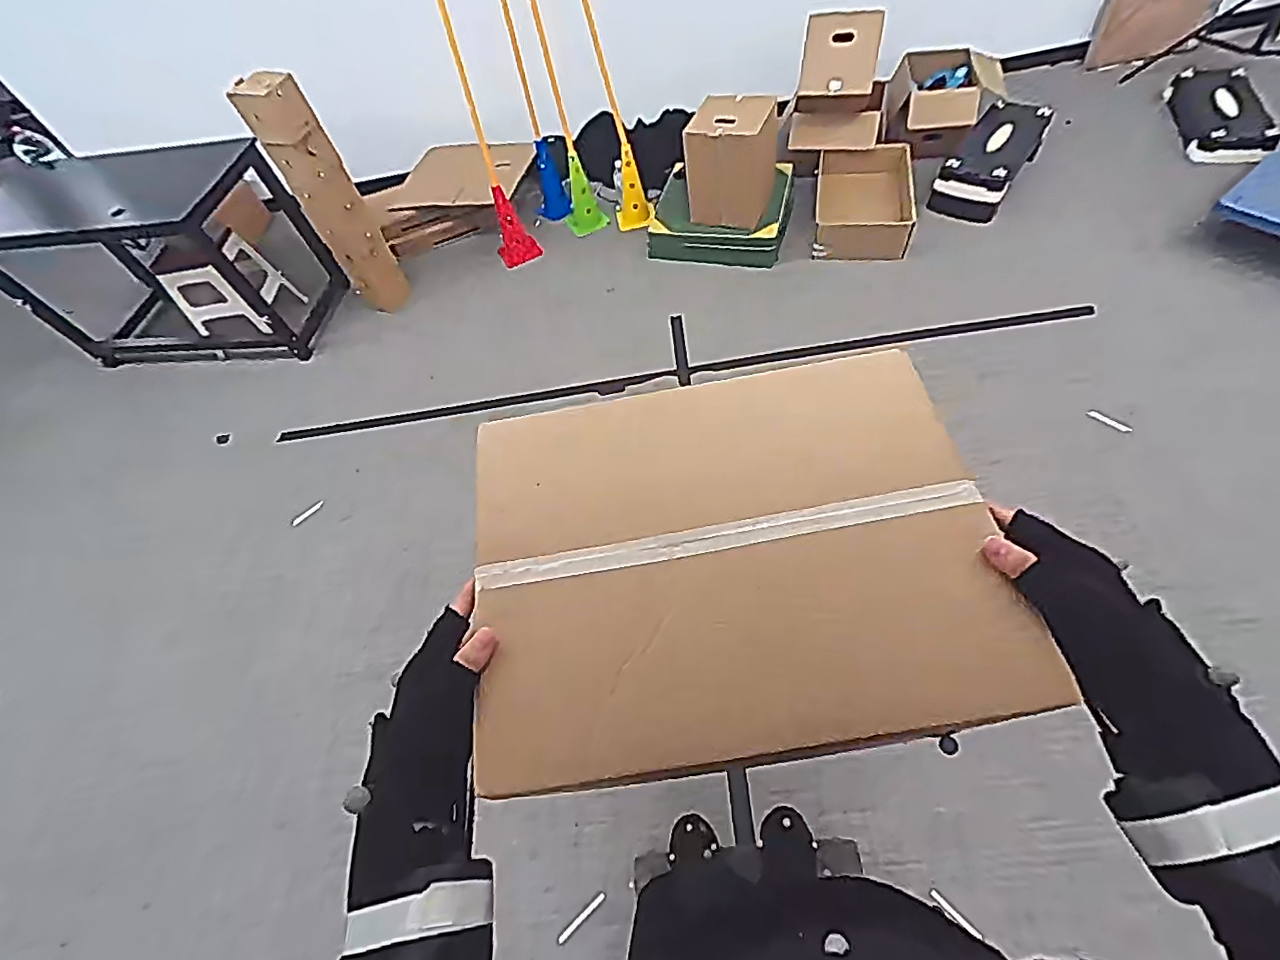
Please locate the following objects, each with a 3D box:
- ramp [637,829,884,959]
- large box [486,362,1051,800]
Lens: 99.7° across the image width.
[{"bbox_3d":[0.281,1.253,1.014,0.509,0.206,0.991,-9,57,3],"label":"ramp"},{"bbox_3d":[0.086,0.125,0.575,0.408,0.320,0.320,-11,60,2],"label":"large box"}]
